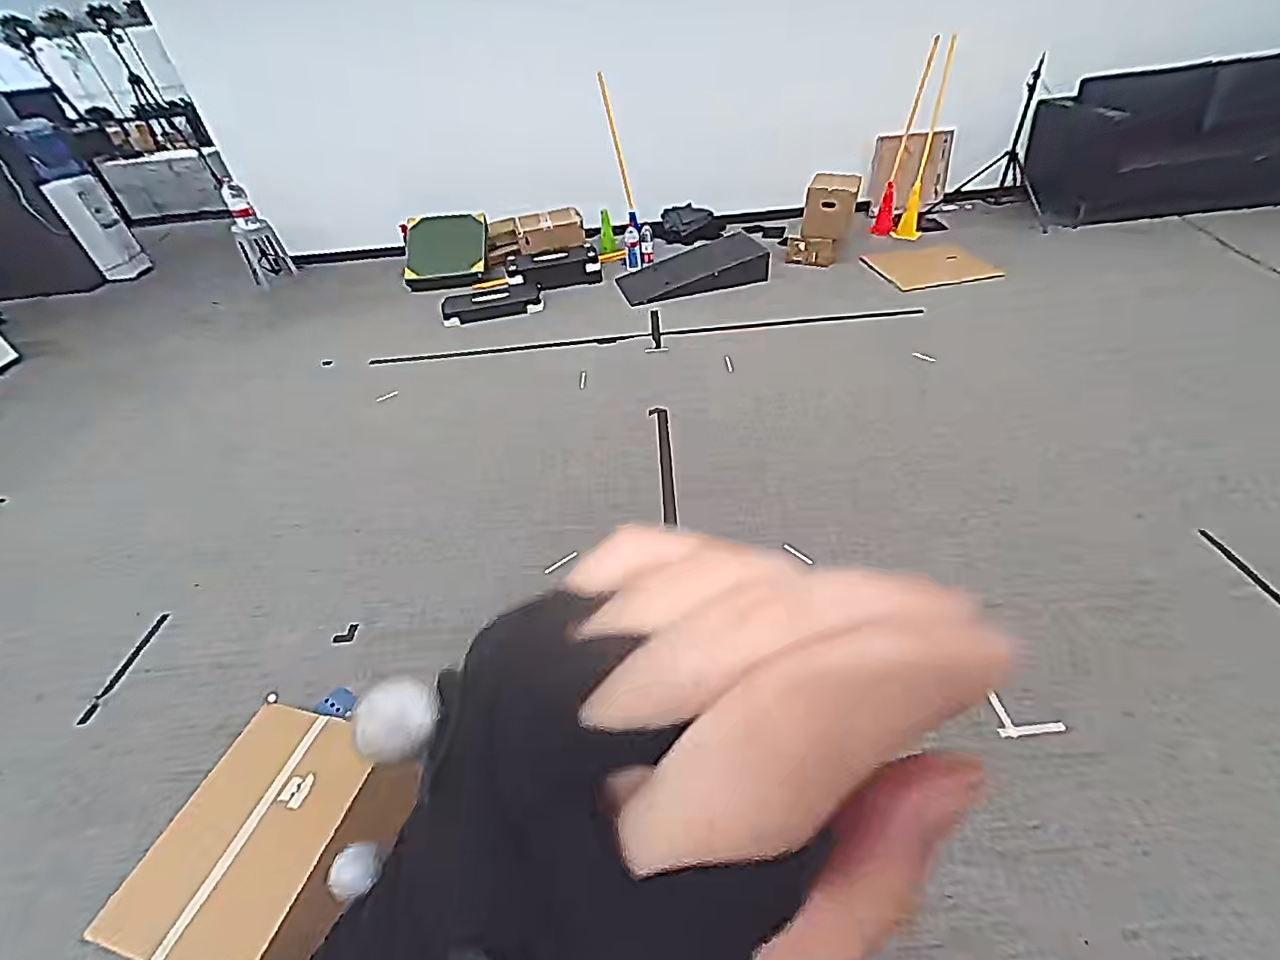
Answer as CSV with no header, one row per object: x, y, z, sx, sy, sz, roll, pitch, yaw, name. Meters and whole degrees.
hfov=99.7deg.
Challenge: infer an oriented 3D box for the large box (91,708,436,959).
-0.677,0.738,1.063,0.320,0.320,0.408,7,42,14,large box
